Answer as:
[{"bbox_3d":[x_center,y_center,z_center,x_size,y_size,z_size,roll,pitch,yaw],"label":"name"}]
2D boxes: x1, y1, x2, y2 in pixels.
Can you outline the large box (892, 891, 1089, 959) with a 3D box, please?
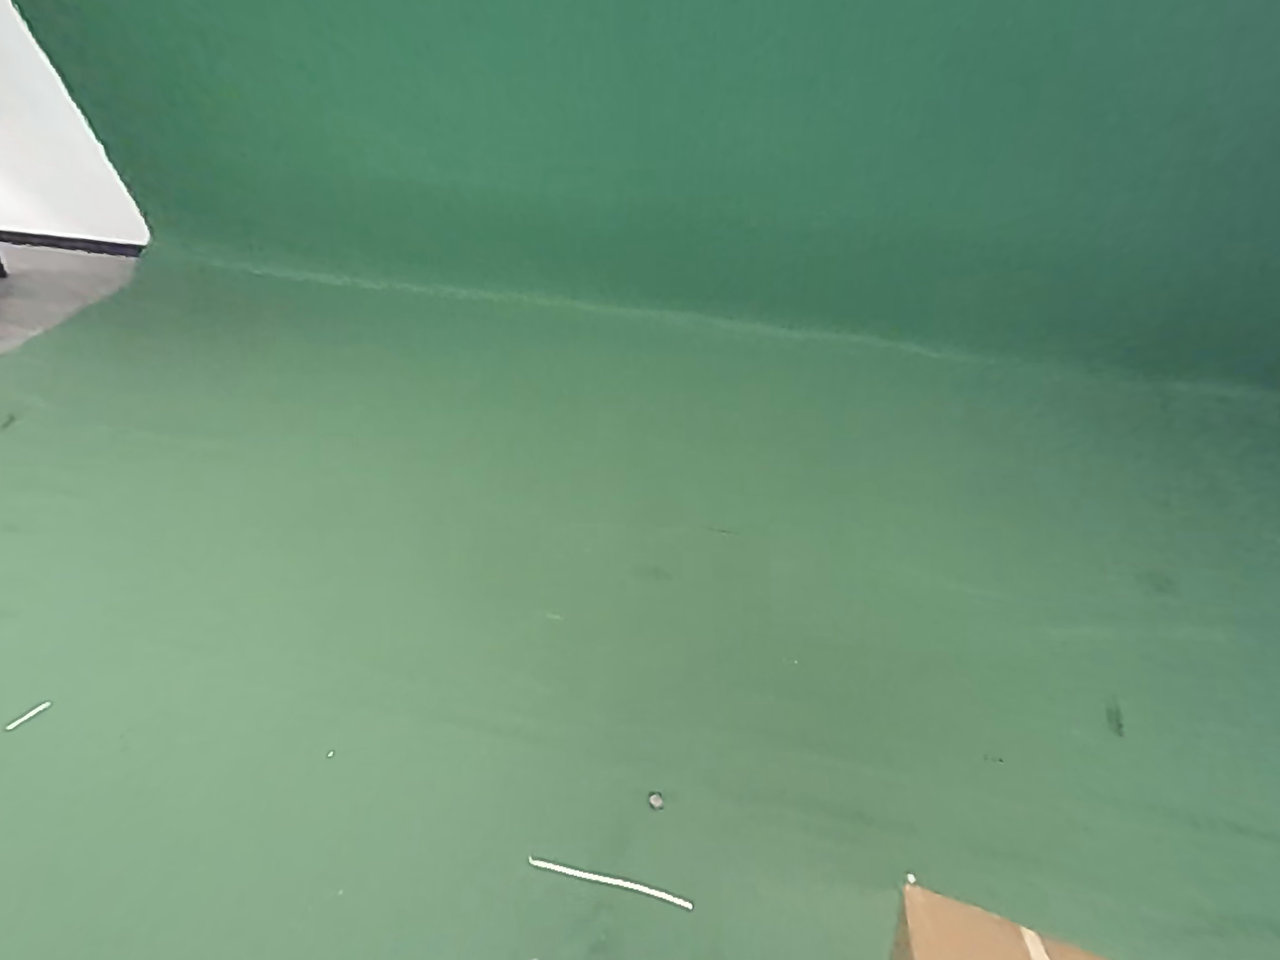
[{"bbox_3d":[0.436,0.771,0.563,0.320,0.408,0.320,12,92,21],"label":"large box"}]
